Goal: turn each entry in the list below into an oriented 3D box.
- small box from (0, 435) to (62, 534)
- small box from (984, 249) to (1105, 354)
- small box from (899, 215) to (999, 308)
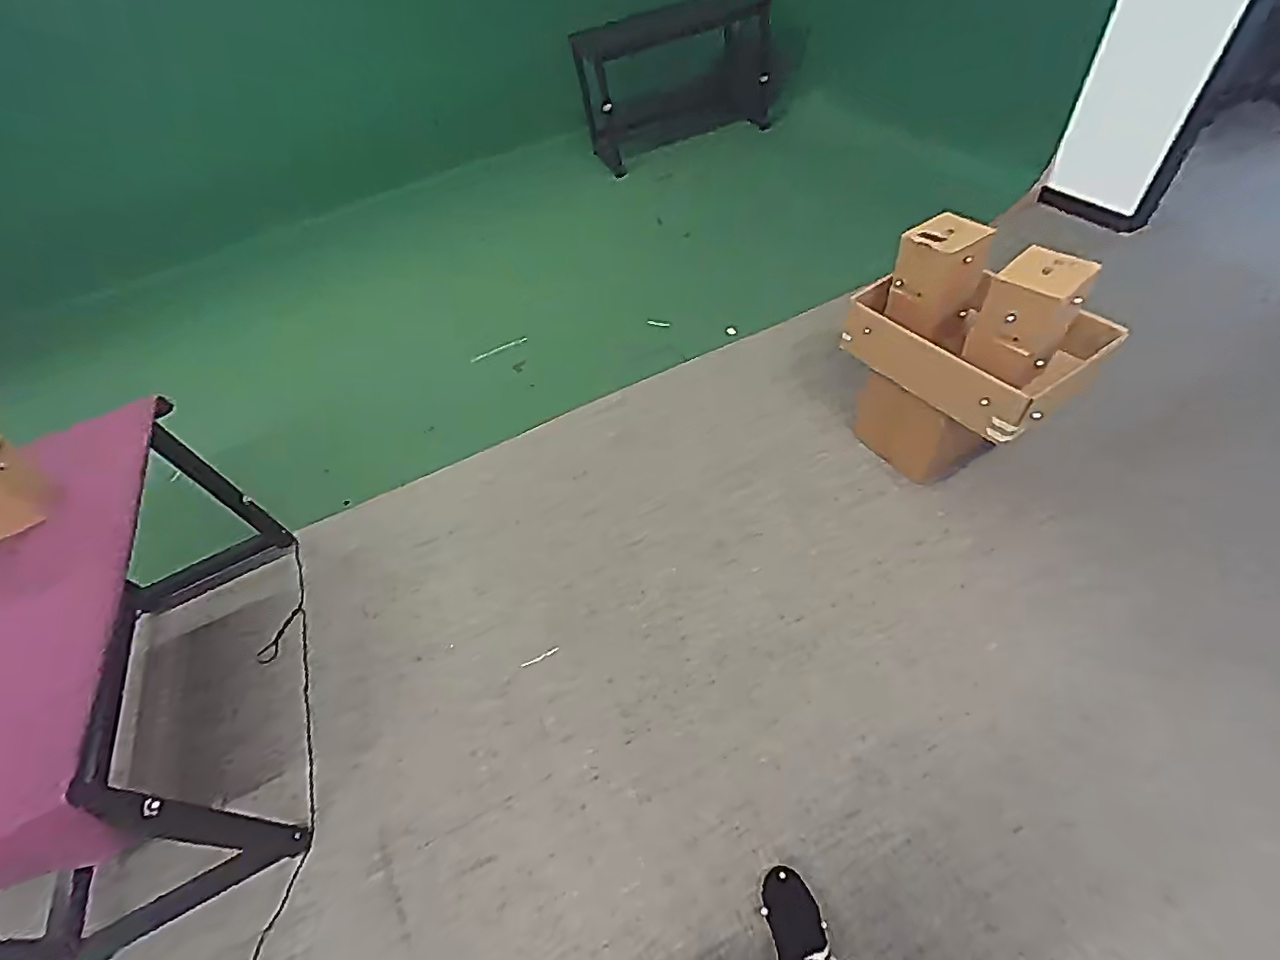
[{"bbox_3d":[-1.608,0.023,1.331,0.179,0.176,0.168,-28,53,-11],"label":"small box"},{"bbox_3d":[1.018,-0.452,1.380,0.179,0.176,0.168,-36,54,-16],"label":"small box"},{"bbox_3d":[0.873,-0.623,1.551,0.179,0.176,0.168,-28,51,-13],"label":"small box"}]
